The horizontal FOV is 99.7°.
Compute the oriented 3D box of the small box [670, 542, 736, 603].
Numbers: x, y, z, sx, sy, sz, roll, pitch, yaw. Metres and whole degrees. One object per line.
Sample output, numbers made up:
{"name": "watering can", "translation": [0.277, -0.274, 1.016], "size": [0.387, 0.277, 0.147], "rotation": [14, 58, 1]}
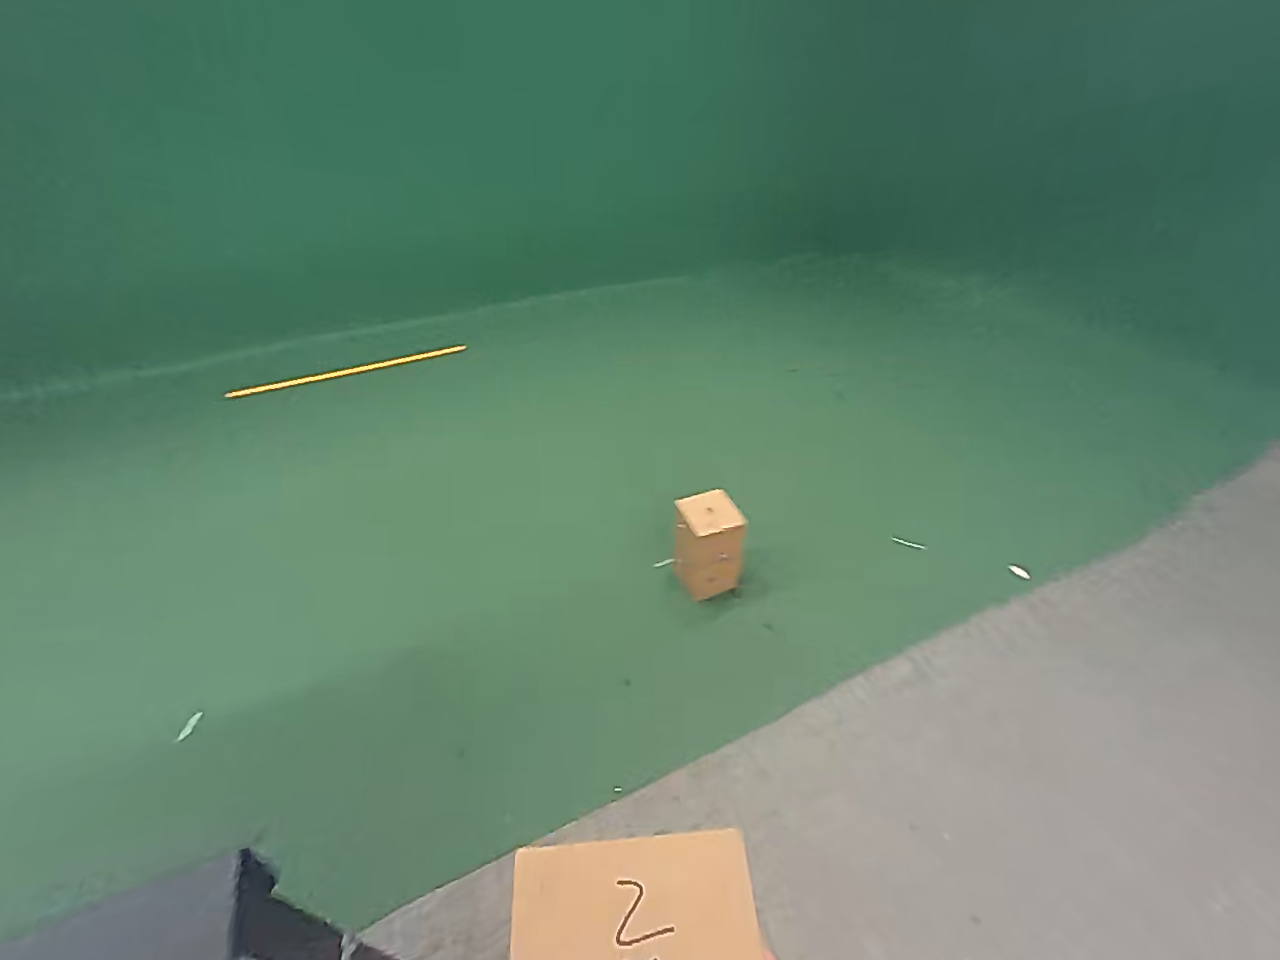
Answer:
{"name": "small box", "translation": [0.215, 0.305, 1.880], "size": [0.168, 0.176, 0.179], "rotation": [-17, 42, -18]}

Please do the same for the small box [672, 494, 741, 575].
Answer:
{"name": "small box", "translation": [0.209, 0.179, 1.773], "size": [0.168, 0.176, 0.179], "rotation": [-15, 42, -16]}
